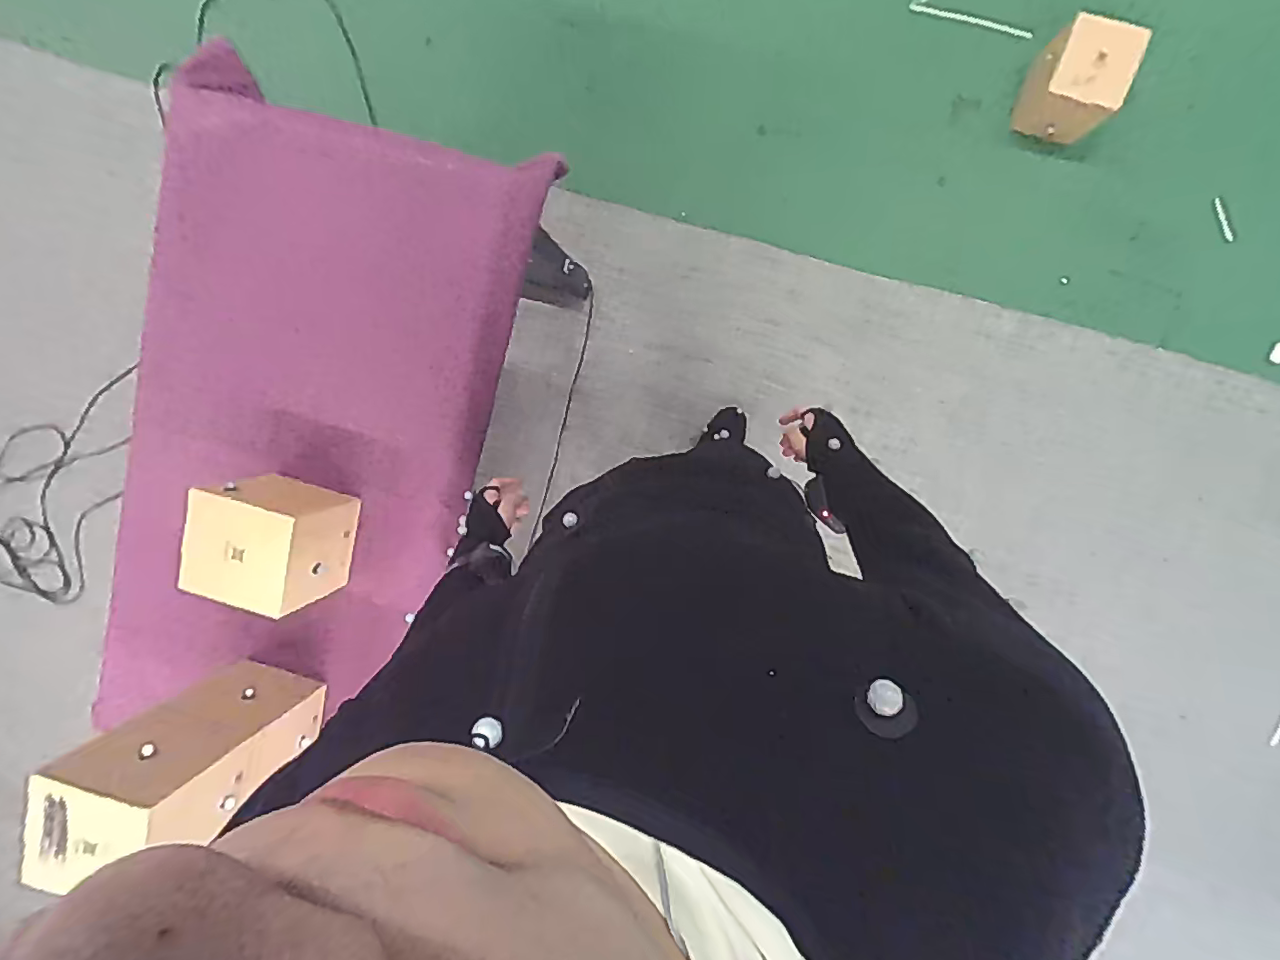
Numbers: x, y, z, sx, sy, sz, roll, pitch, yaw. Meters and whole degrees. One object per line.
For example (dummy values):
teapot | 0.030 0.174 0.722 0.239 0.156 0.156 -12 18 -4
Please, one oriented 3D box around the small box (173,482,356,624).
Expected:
small box | -0.598 0.107 0.879 0.179 0.176 0.168 14 98 4

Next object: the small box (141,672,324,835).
small box | -0.687 0.453 0.927 0.179 0.176 0.168 13 98 3

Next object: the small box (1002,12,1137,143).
small box | 1.031 -0.968 1.317 0.168 0.176 0.179 18 99 3
